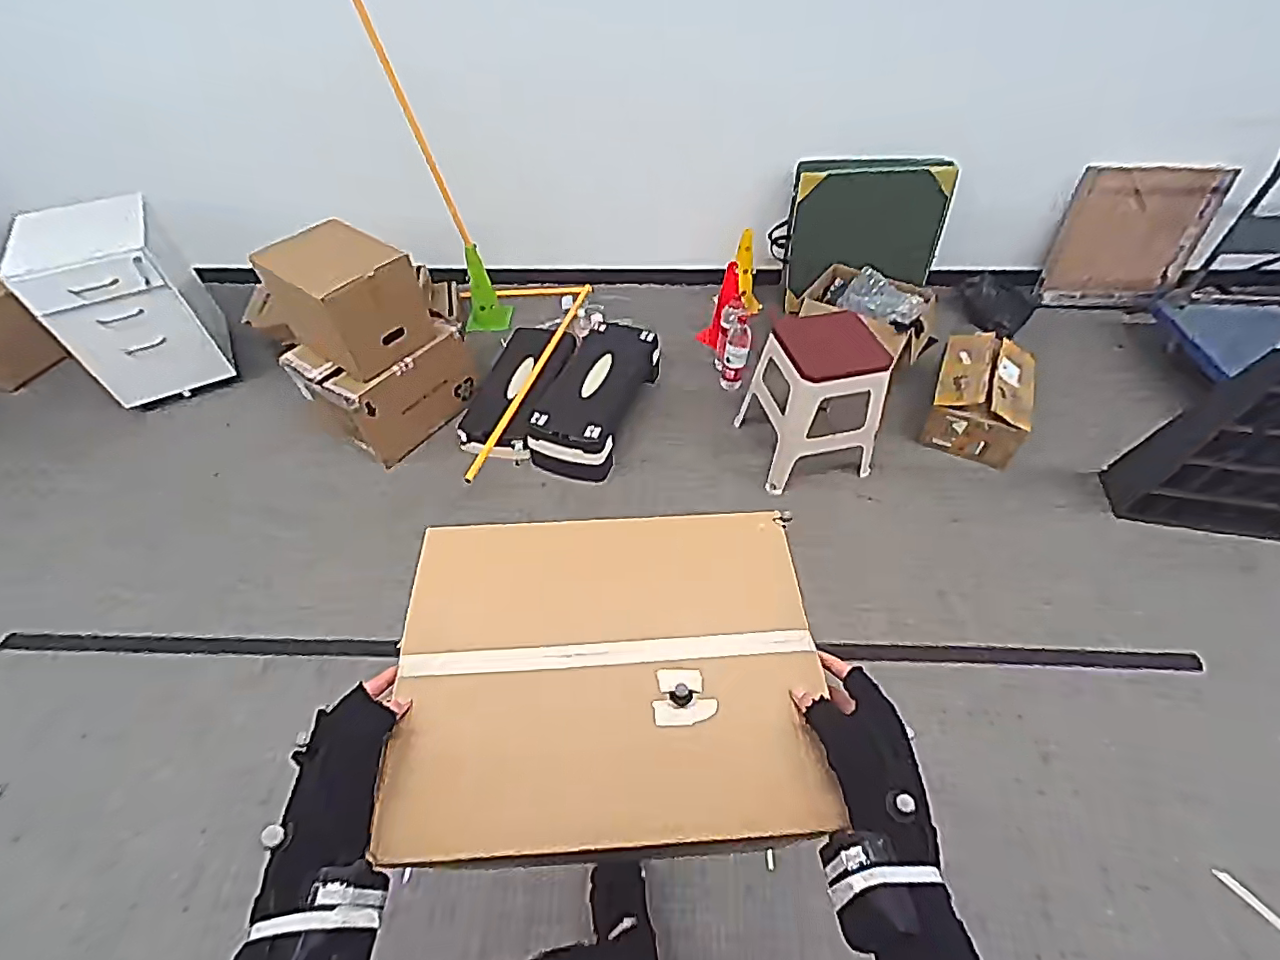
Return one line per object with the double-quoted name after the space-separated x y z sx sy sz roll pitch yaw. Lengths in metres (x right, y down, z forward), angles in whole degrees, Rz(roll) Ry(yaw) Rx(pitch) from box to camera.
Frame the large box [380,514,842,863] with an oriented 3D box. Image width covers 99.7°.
-0.033 0.261 0.665 0.408 0.320 0.320 -2 53 -2 "large box"
